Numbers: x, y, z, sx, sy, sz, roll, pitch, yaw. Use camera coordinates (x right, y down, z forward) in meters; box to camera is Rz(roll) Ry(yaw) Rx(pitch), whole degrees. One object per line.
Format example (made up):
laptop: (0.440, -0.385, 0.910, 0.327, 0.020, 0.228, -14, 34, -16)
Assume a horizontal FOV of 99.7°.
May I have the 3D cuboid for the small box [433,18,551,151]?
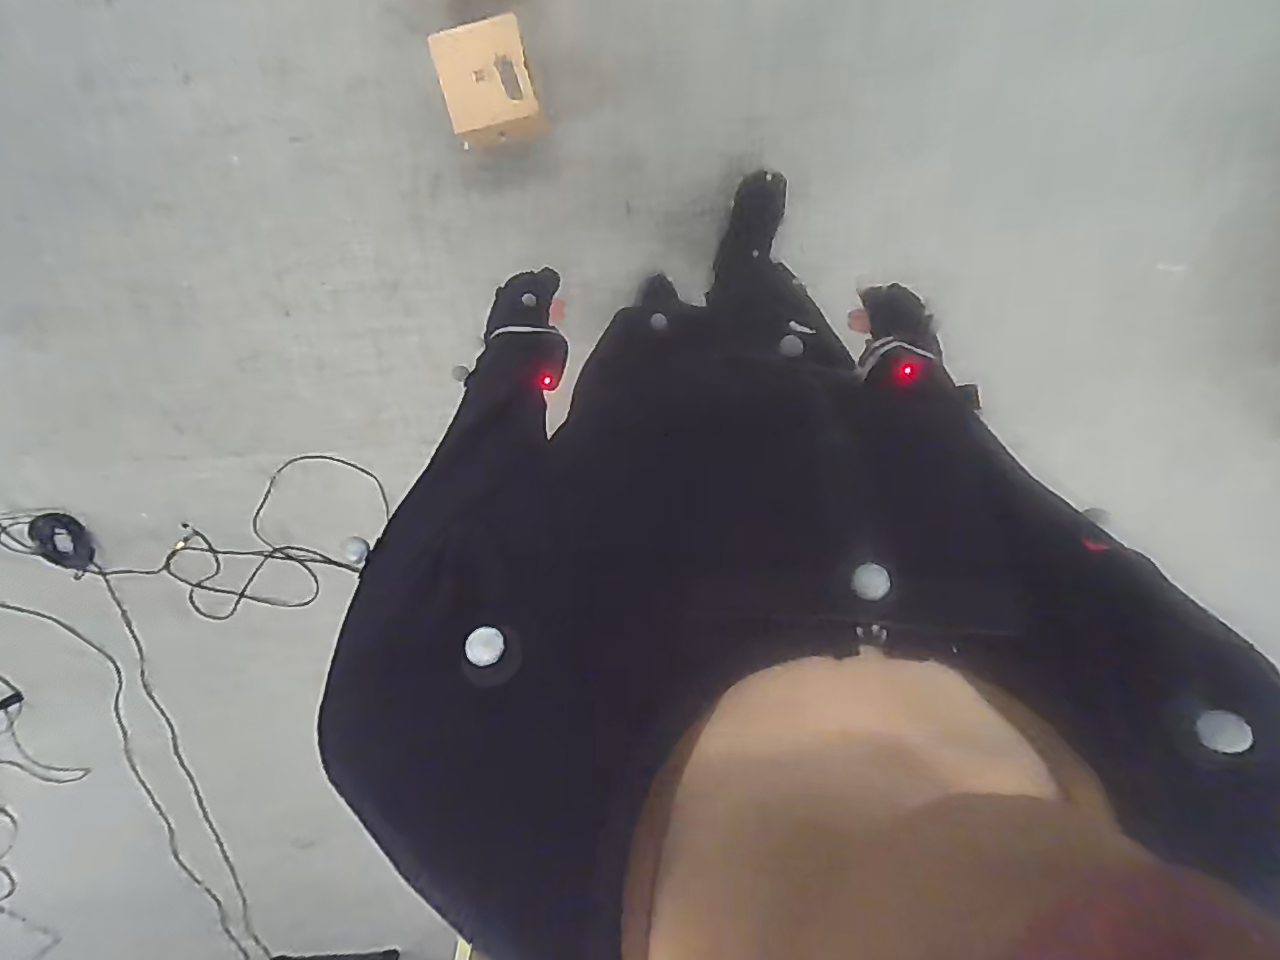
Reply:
small box: (-0.290, -0.801, 1.114, 0.179, 0.176, 0.168, -11, 111, 5)
